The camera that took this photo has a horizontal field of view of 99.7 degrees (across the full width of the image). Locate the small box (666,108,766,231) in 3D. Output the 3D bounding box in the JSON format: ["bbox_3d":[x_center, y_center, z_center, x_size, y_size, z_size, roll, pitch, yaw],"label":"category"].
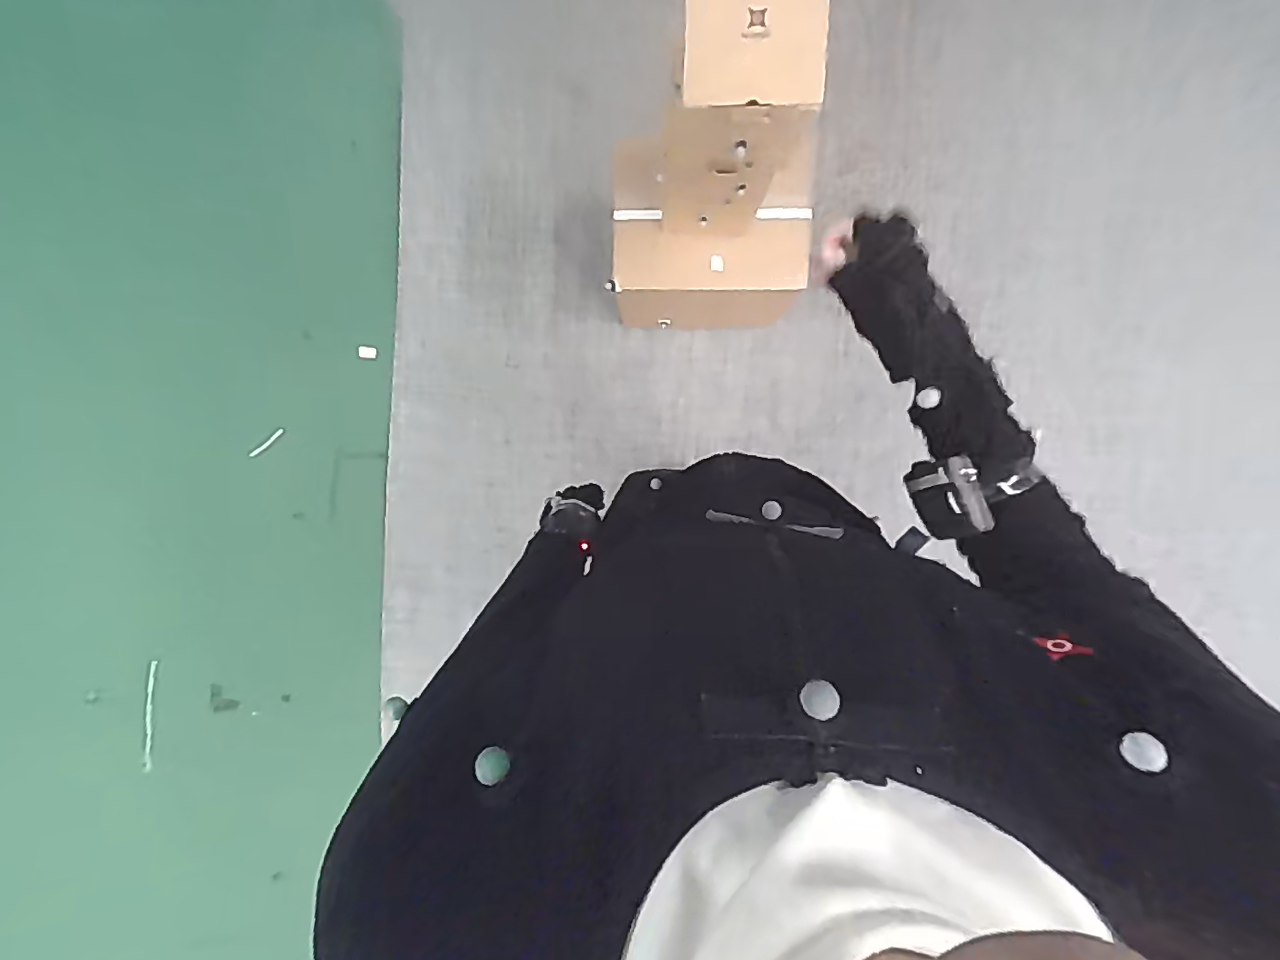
[{"bbox_3d":[0.139,-0.587,1.029,0.179,0.176,0.168,0,98,3],"label":"small box"}]

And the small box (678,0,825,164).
[{"bbox_3d":[0.136,-0.538,0.708,0.168,0.176,0.179,2,98,2],"label":"small box"}]

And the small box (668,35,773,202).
[{"bbox_3d":[0.130,-0.566,0.869,0.168,0.176,0.179,1,96,2],"label":"small box"}]
